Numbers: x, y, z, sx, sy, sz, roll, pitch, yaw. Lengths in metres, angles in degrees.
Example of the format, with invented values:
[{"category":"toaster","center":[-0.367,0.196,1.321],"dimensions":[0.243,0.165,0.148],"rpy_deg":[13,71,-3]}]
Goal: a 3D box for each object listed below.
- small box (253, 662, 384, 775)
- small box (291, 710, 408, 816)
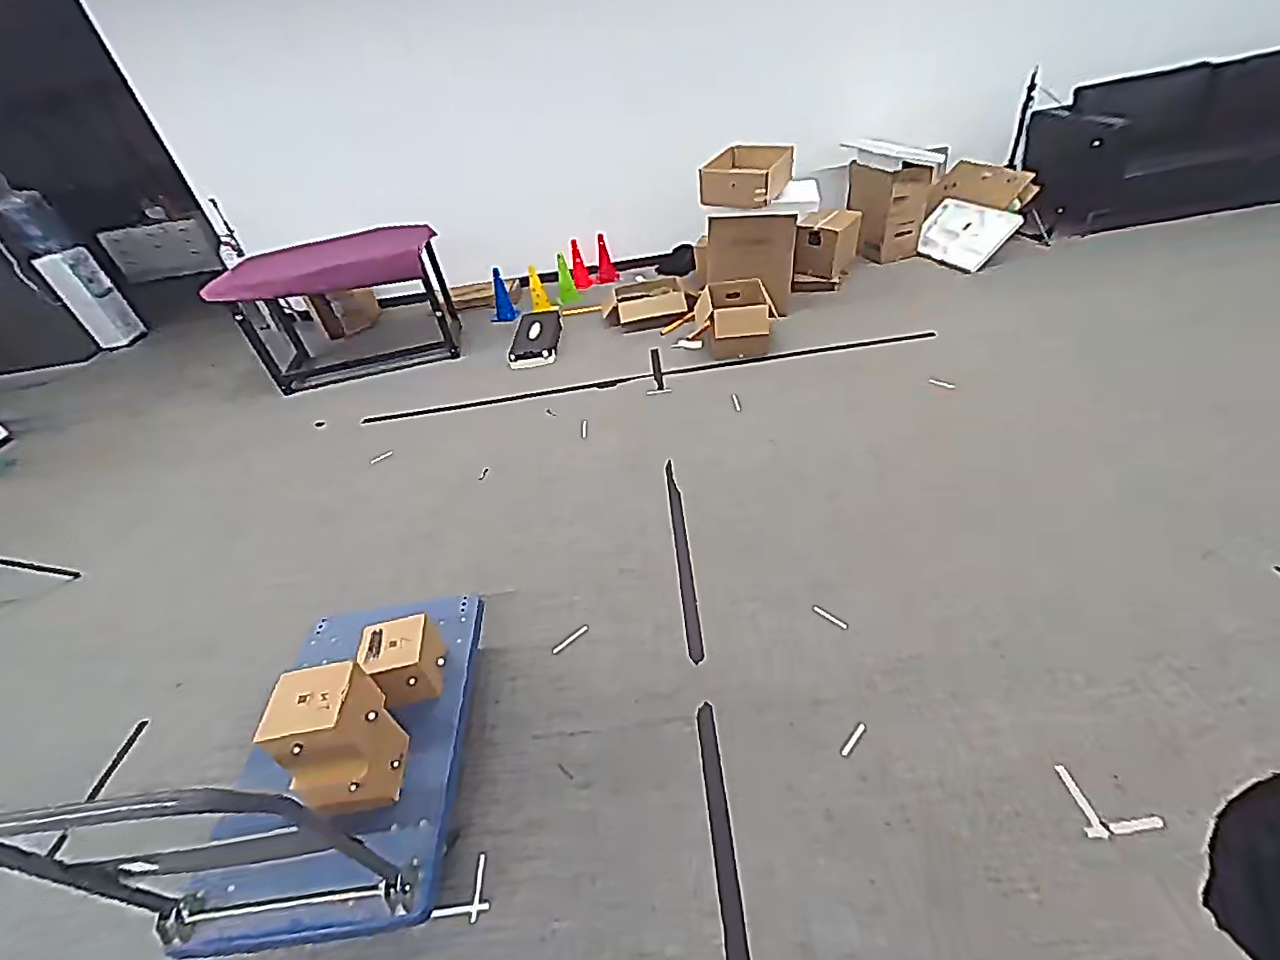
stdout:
[{"category":"small box","center":[-0.722,0.549,1.237],"dimensions":[0.179,0.176,0.168],"rpy_deg":[-10,39,-2]},{"category":"small box","center":[-0.697,0.692,1.320],"dimensions":[0.179,0.176,0.168],"rpy_deg":[-11,39,-2]}]
